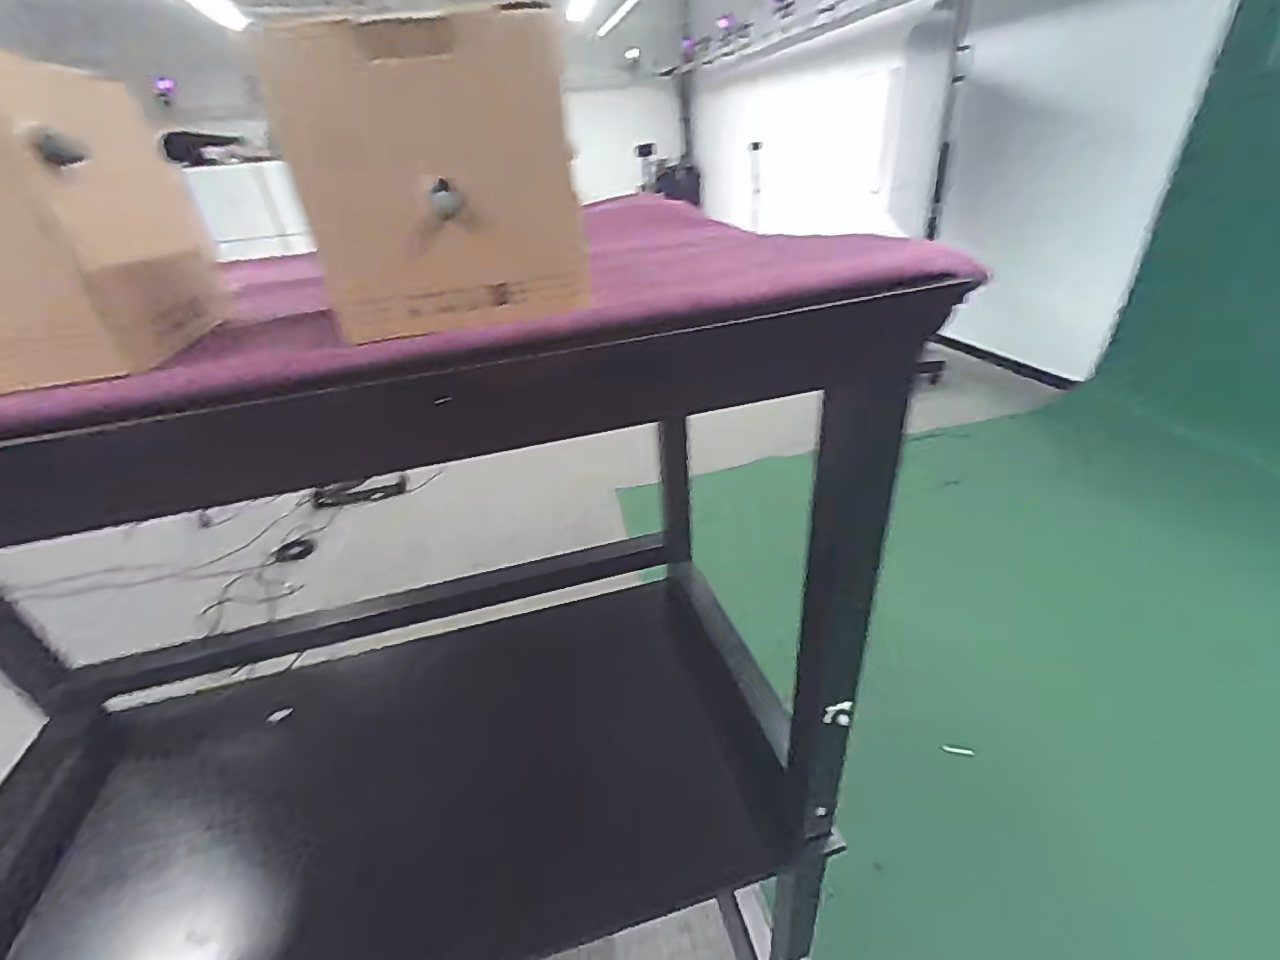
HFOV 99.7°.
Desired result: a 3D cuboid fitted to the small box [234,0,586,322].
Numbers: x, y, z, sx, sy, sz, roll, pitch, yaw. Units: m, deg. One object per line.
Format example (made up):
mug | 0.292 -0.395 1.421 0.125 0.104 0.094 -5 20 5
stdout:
small box | -0.139 -0.221 0.395 0.168 0.176 0.179 -11 33 -10
